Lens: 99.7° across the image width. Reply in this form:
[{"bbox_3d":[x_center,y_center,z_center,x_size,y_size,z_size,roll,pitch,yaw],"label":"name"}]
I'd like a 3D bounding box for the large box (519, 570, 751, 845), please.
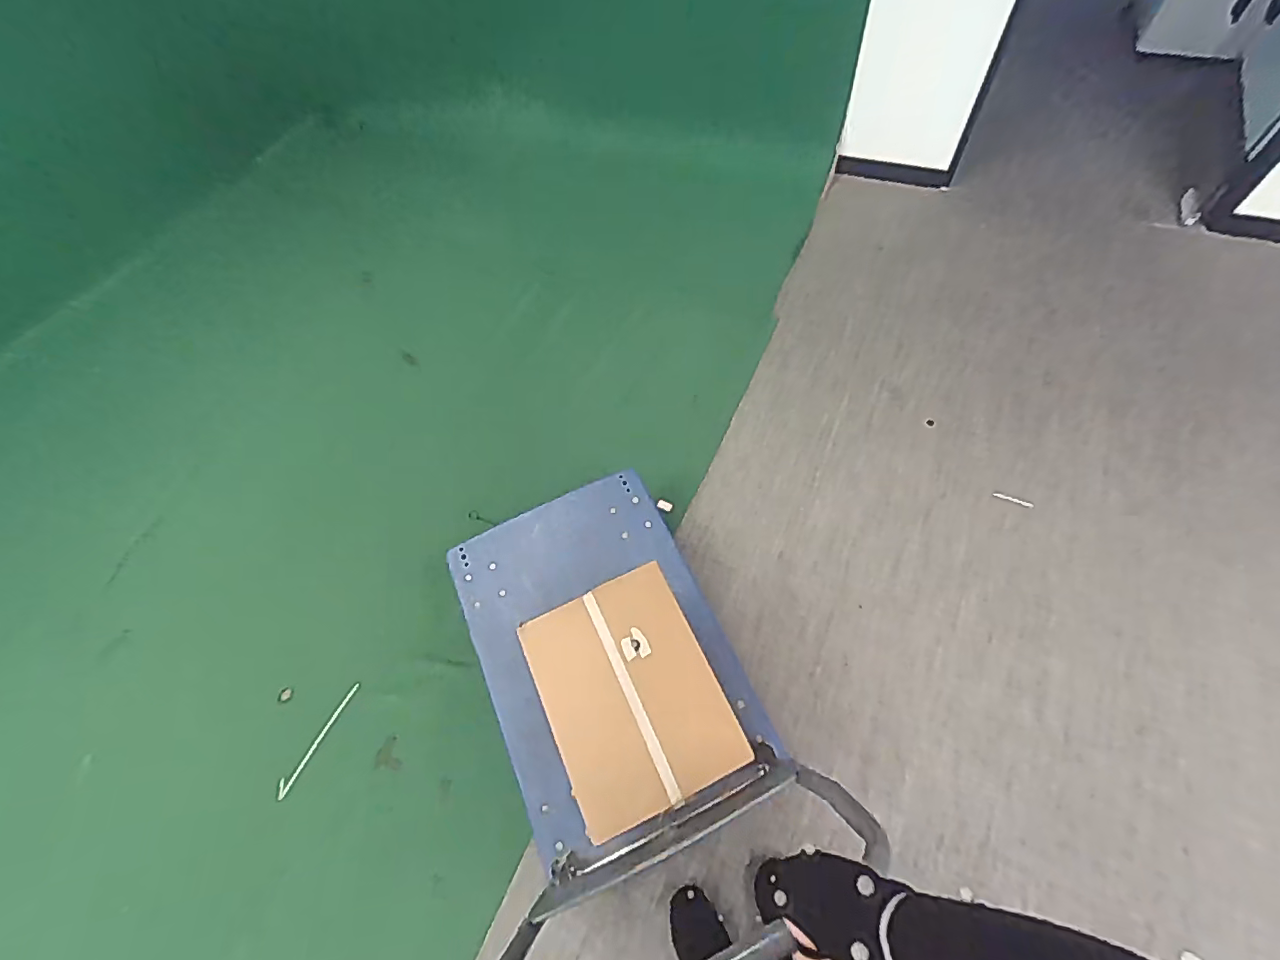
[{"bbox_3d":[-0.007,0.470,1.155,0.320,0.320,0.408,-25,64,-7],"label":"large box"}]
